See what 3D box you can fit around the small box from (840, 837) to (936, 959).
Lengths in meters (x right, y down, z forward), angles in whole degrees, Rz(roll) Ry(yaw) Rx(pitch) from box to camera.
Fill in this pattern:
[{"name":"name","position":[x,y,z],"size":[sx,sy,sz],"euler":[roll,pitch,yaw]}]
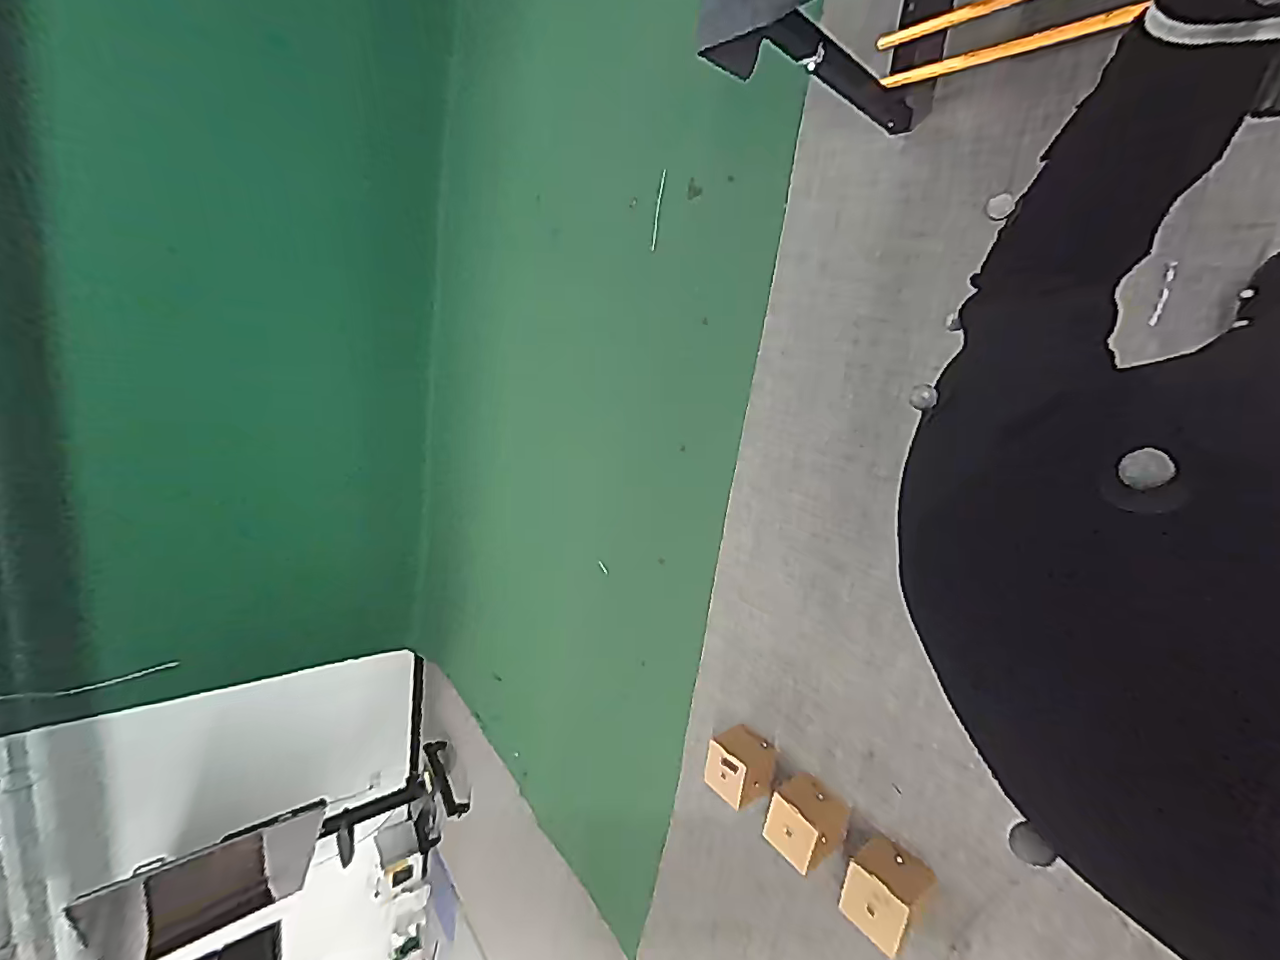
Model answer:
[{"name":"small box","position":[0.683,1.141,1.485],"size":[0.168,0.176,0.179],"euler":[22,108,47]}]

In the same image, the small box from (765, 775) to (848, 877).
[{"name":"small box","position":[0.521,1.071,1.686],"size":[0.168,0.176,0.179],"euler":[26,110,48]}]

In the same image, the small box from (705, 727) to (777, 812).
[{"name":"small box","position":[0.355,1.000,1.886],"size":[0.168,0.176,0.179],"euler":[21,108,49]}]
